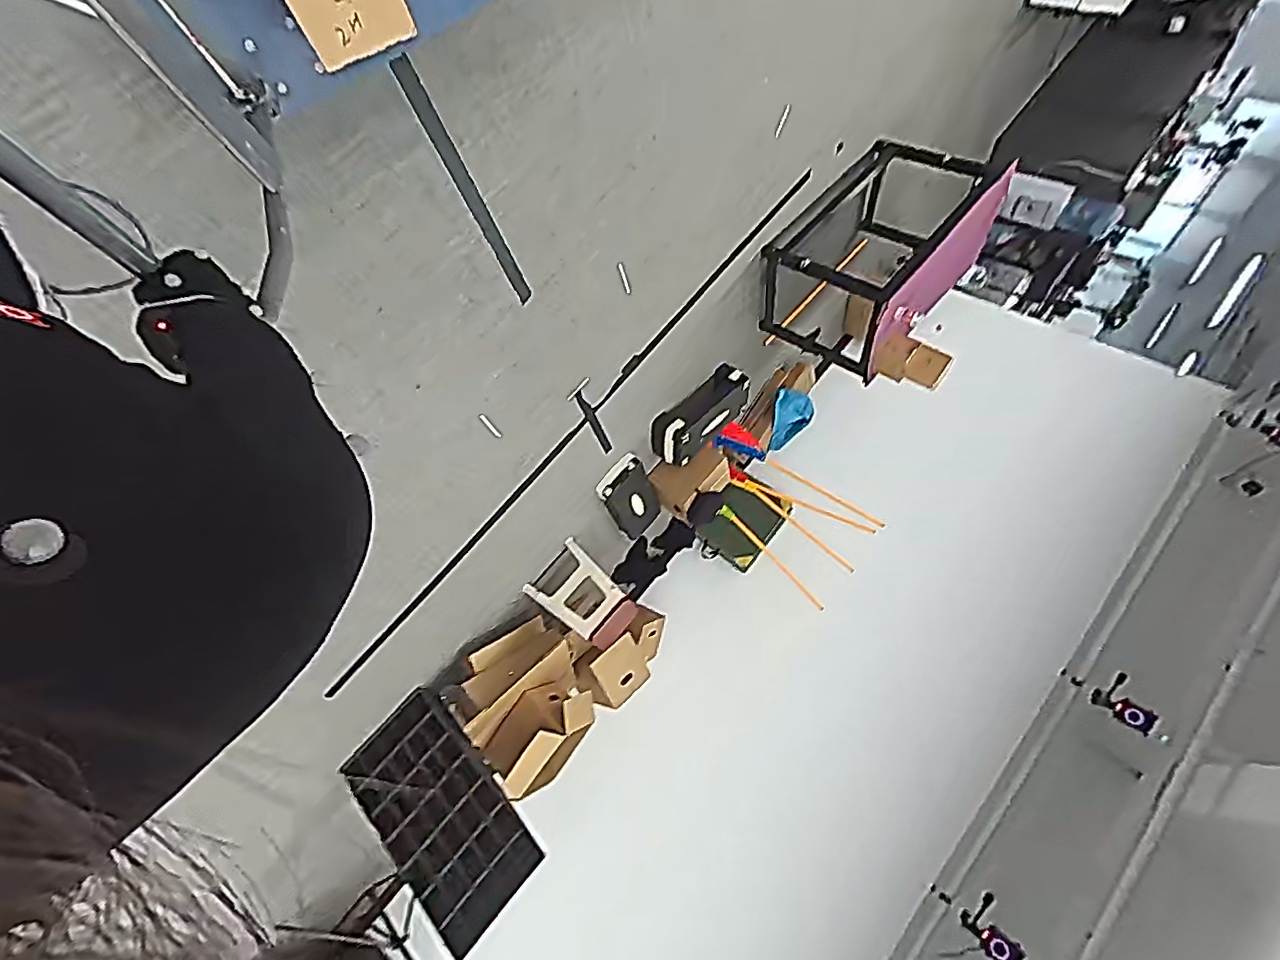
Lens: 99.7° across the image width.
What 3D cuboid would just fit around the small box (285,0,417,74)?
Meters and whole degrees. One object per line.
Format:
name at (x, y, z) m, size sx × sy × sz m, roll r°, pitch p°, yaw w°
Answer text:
small box at (-0.491, -0.802, 0.861) m, size 0.168 × 0.176 × 0.179 m, roll -28°, pitch 150°, yaw -5°
